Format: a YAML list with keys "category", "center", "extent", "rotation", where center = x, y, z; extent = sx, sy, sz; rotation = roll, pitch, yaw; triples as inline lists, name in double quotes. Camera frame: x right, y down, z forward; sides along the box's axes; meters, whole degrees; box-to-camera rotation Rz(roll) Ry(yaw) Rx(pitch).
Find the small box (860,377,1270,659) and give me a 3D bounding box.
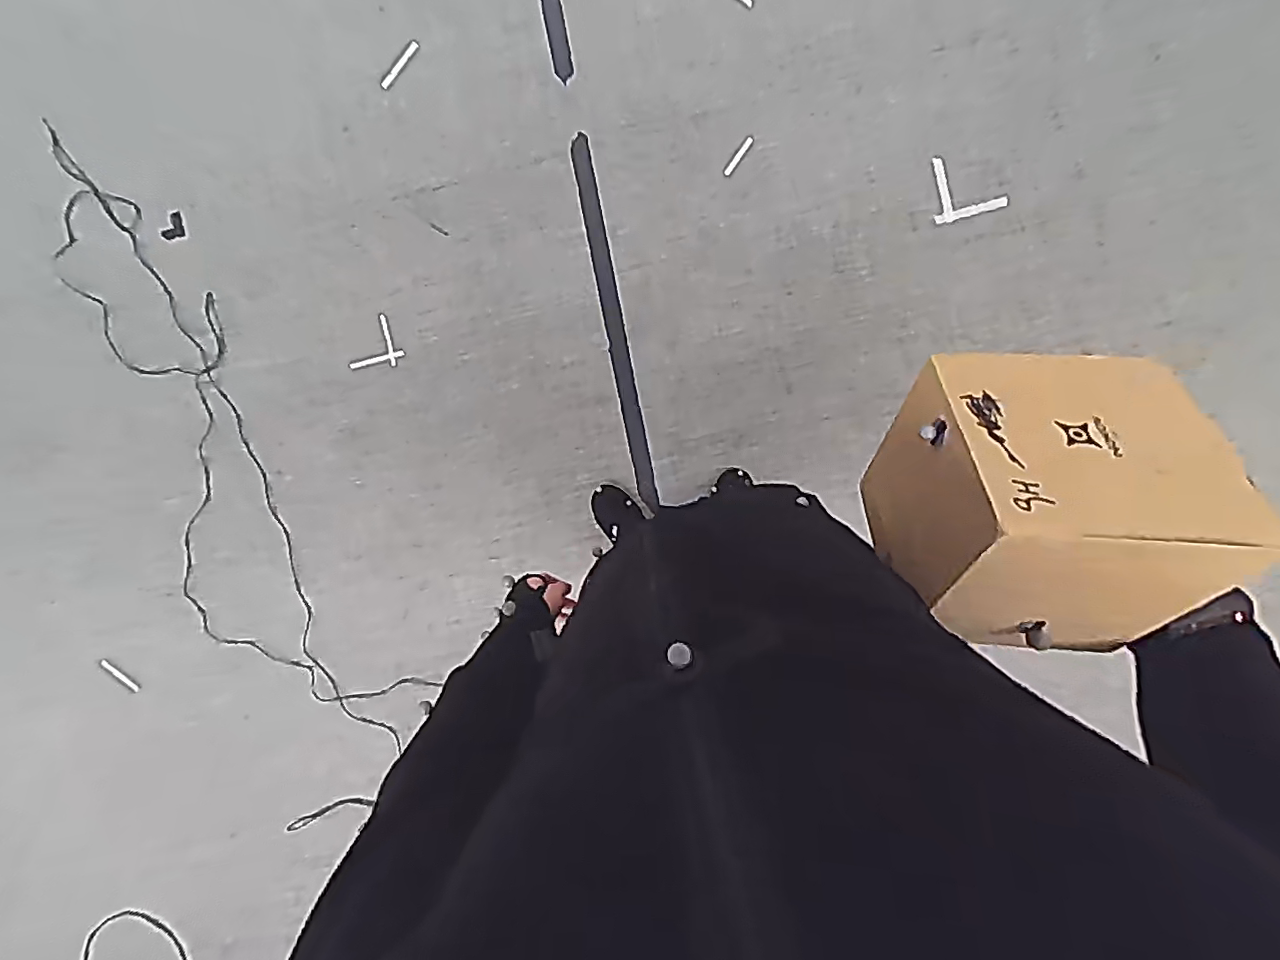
- category: "small box"
  center: [0.308, 0.037, 0.446]
  extent: [0.179, 0.176, 0.168]
  rotation: [3, 51, 1]
